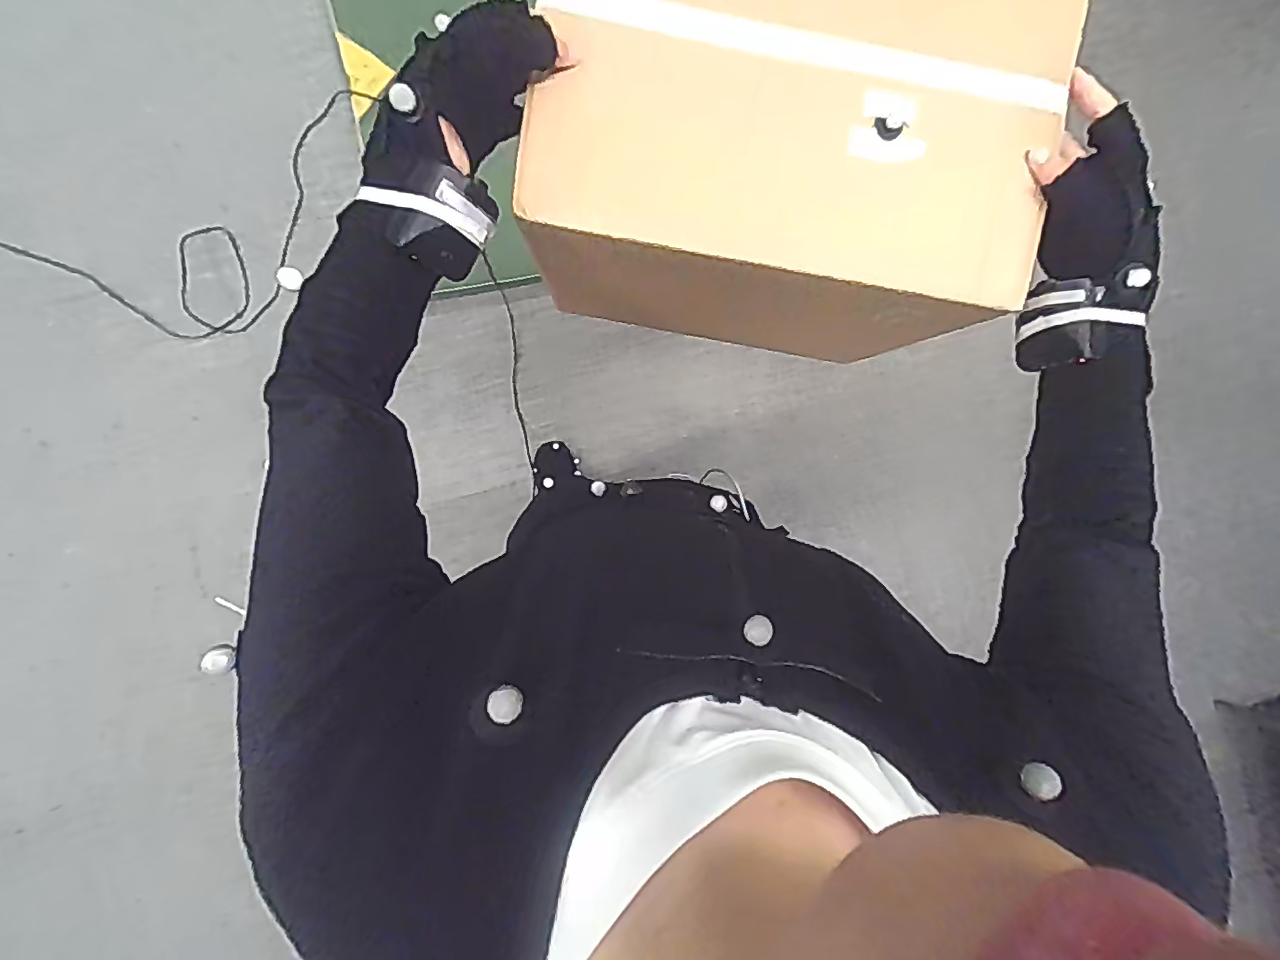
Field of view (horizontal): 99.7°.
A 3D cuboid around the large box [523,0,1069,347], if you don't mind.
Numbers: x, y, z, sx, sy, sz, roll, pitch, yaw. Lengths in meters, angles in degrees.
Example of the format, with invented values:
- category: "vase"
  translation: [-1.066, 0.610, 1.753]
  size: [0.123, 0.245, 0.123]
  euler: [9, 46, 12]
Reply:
- category: "large box"
  translation: [0.114, -0.340, 0.557]
  size: [0.408, 0.320, 0.320]
  euler: [8, 95, -5]
